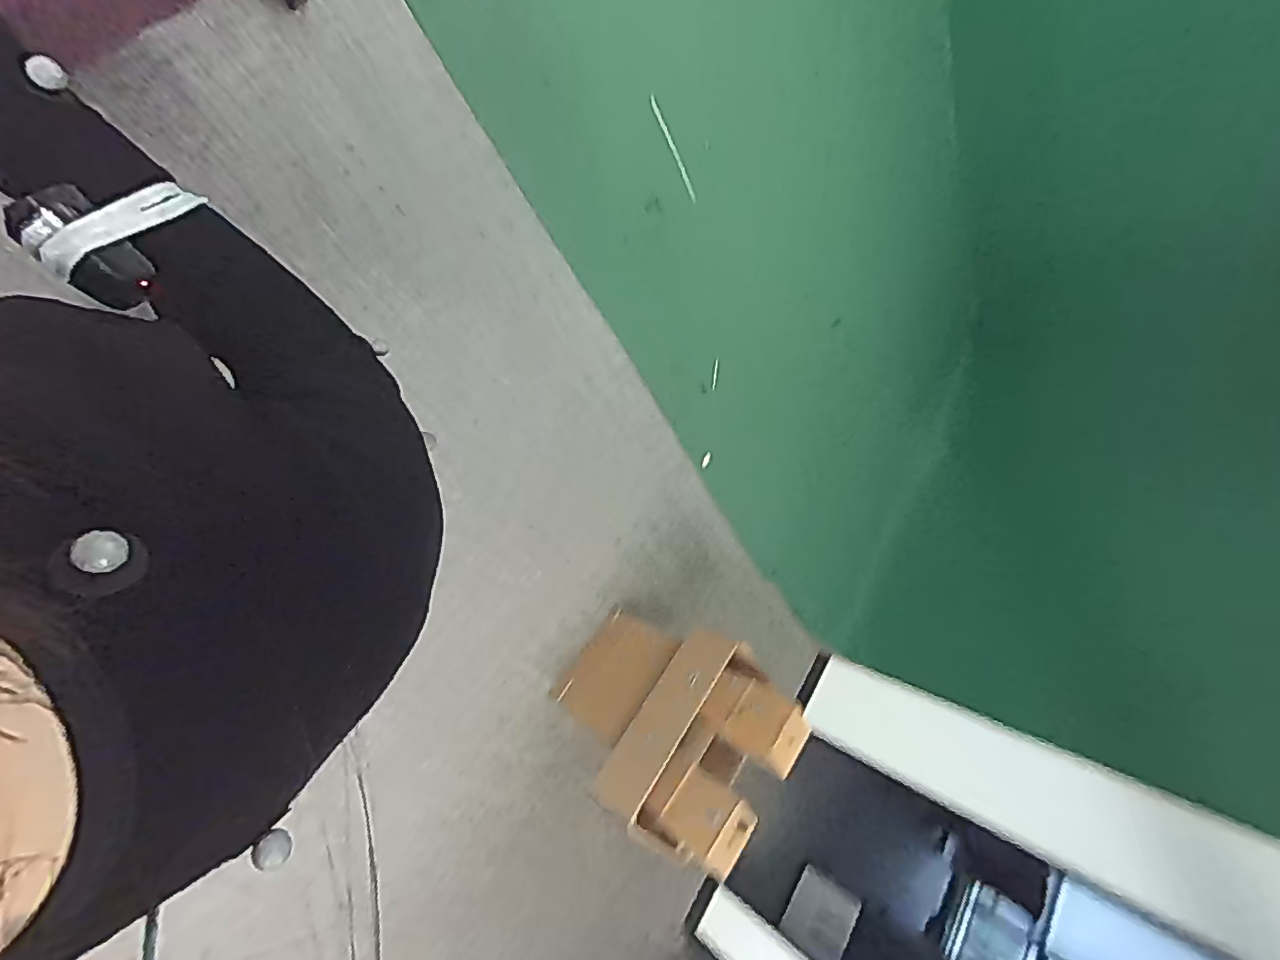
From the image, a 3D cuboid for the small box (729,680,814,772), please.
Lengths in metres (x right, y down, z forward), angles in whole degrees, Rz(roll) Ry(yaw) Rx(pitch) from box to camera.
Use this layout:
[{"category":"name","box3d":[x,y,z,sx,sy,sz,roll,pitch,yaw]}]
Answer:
[{"category":"small box","box3d":[0.405,0.751,1.668,0.168,0.176,0.179,-47,127,-25]}]

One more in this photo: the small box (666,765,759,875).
[{"category":"small box","box3d":[0.204,0.951,1.527,0.179,0.176,0.168,-46,127,-25]}]
